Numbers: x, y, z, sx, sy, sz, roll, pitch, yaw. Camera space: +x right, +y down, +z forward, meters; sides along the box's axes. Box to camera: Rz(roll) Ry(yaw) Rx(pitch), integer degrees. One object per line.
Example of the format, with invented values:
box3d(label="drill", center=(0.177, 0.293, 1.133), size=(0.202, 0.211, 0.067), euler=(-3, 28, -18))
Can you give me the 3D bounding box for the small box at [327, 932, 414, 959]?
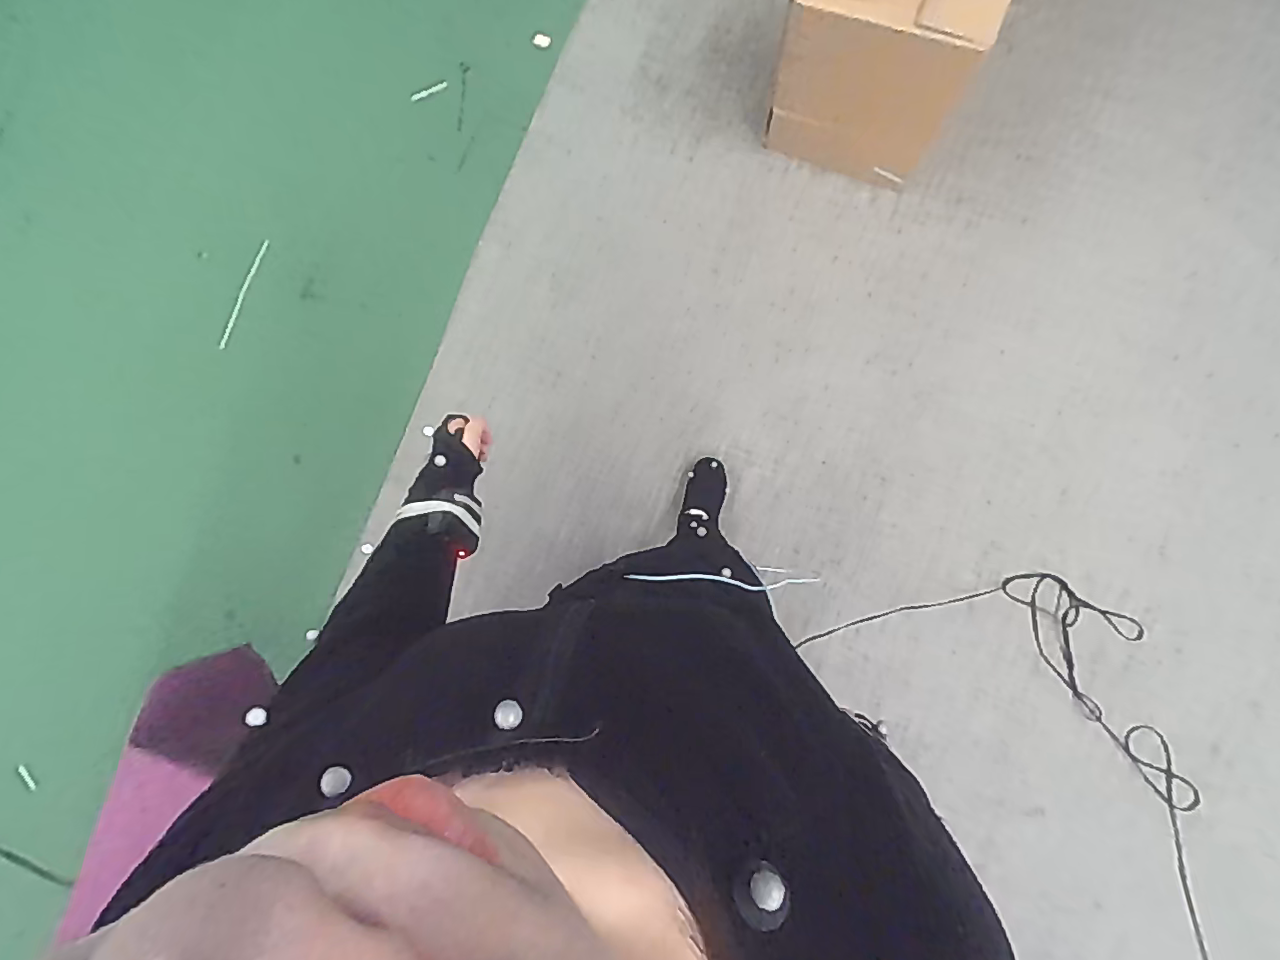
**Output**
box3d(label="small box", center=(-0.381, 0.751, 0.691), size=(0.168, 0.176, 0.179), euler=(20, 89, 6))
